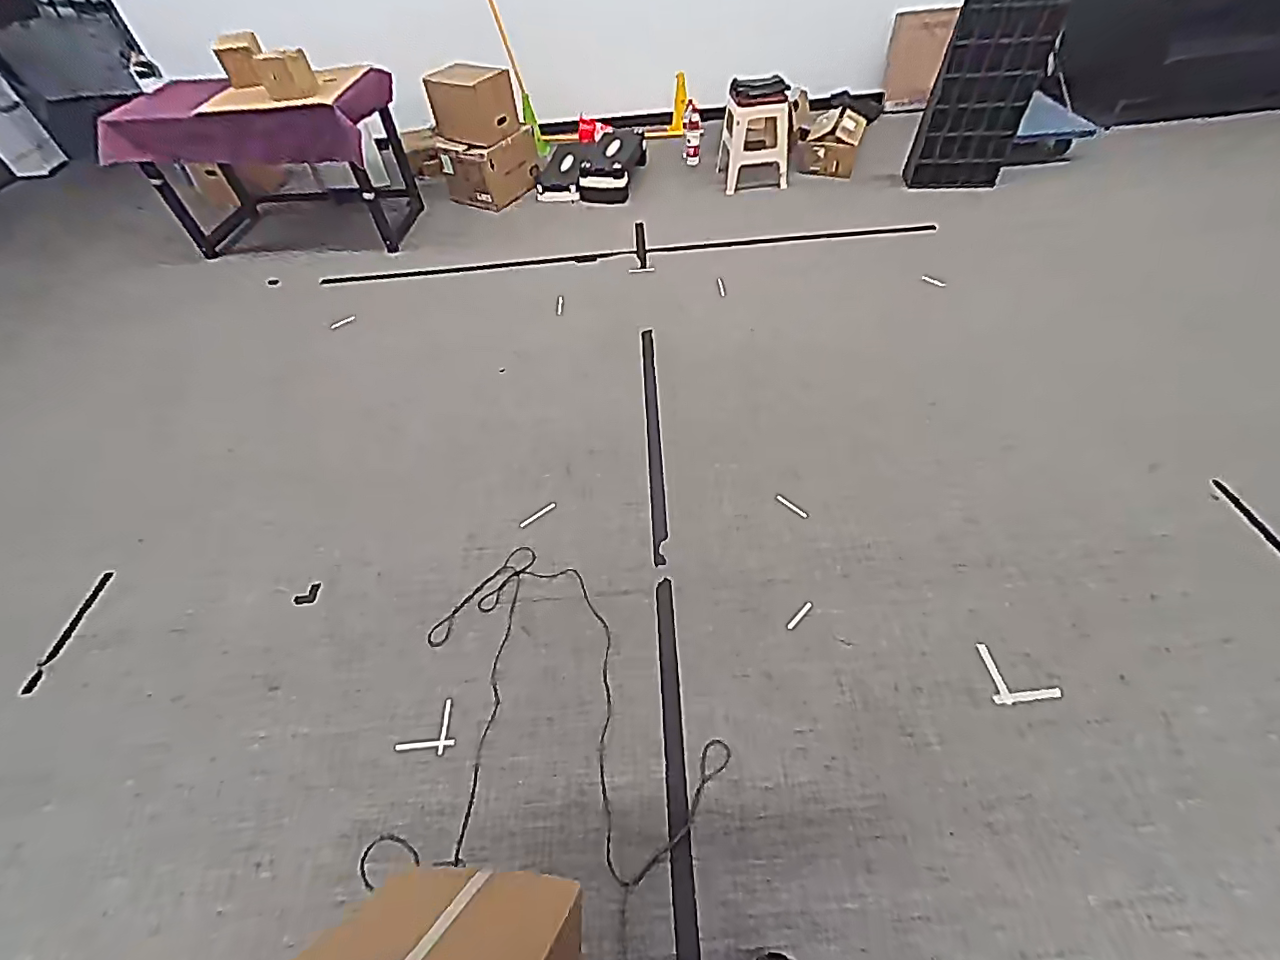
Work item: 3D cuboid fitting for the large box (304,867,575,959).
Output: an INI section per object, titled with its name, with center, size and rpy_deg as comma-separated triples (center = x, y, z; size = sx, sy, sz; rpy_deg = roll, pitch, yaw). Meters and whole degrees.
[large box]
center = -0.282, 0.763, 0.661
size = 0.320, 0.408, 0.320
rpy_deg = -3, 81, 10
